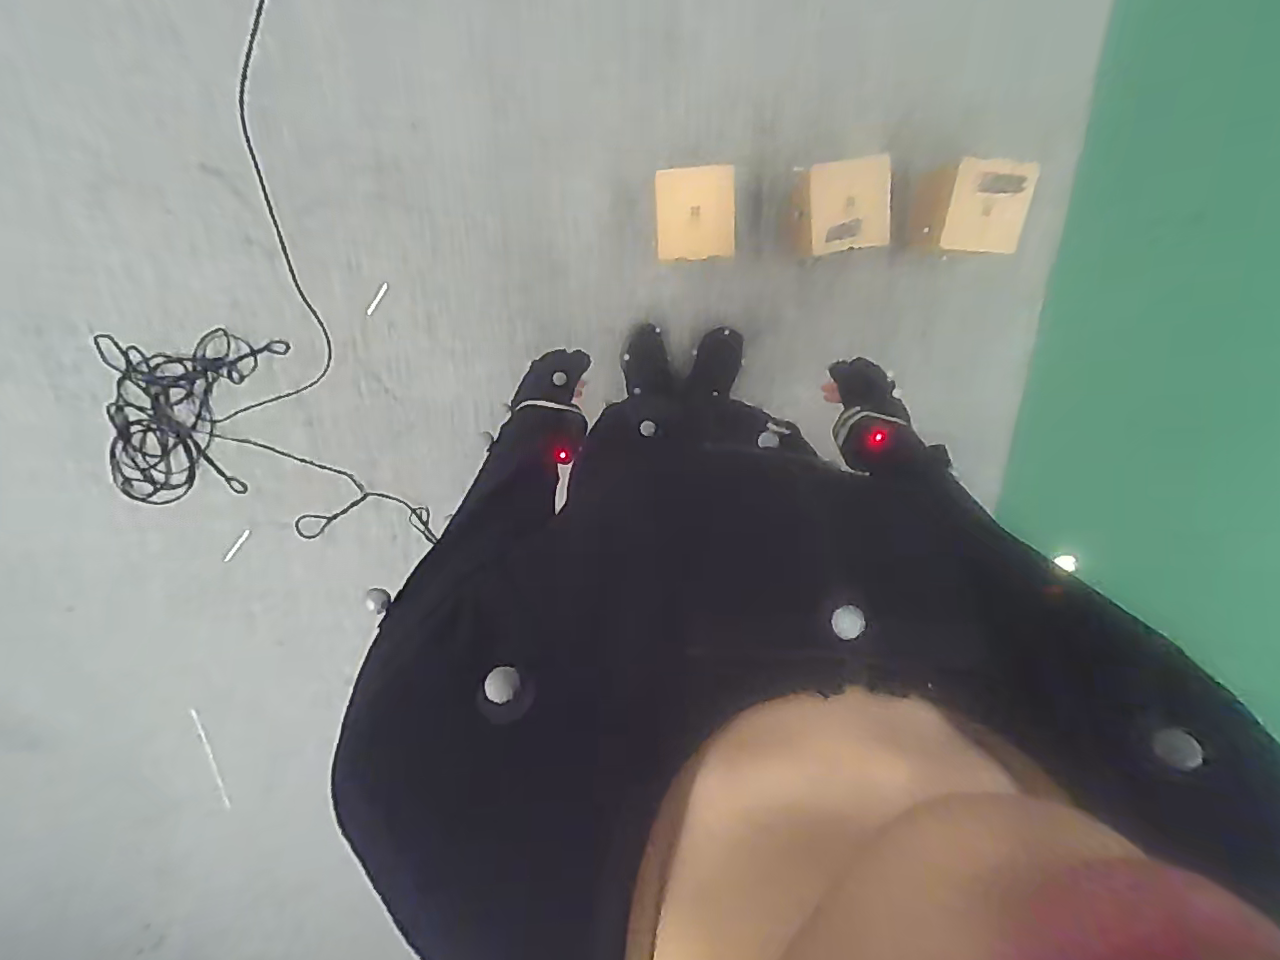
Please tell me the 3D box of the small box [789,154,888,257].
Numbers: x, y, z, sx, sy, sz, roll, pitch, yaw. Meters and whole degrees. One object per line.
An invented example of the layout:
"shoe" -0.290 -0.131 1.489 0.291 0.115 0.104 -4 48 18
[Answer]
"small box" 0.432 -0.596 1.196 0.168 0.176 0.179 -7 108 3

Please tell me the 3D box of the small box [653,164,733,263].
"small box" 0.115 -0.586 1.209 0.168 0.176 0.179 -3 110 3
